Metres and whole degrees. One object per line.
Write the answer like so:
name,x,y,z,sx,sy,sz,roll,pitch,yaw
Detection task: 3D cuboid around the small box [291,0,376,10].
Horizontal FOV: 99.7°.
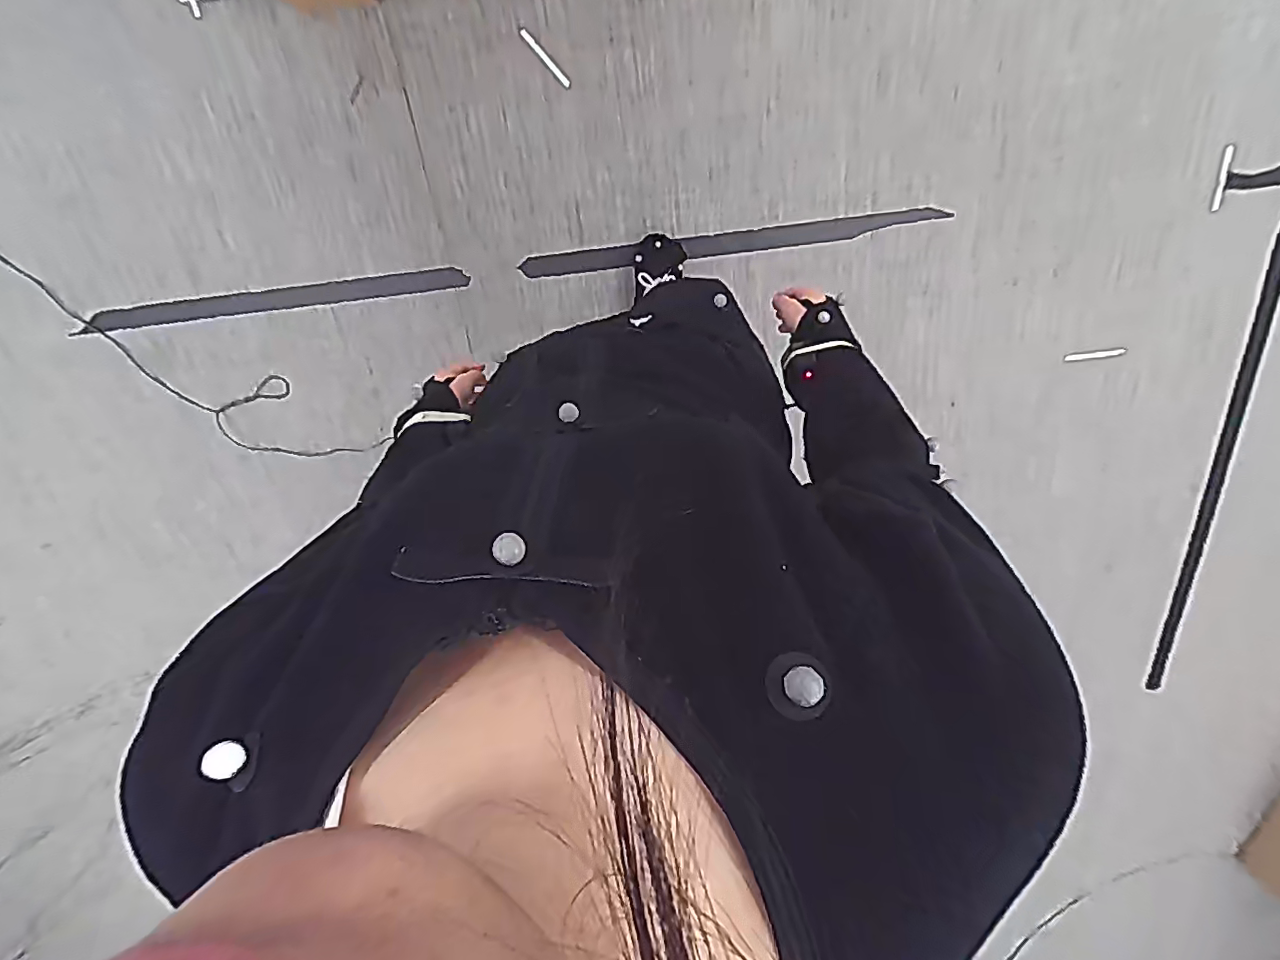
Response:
small box,-0.632,-1.034,1.030,0.179,0.176,0.168,-5,114,1
